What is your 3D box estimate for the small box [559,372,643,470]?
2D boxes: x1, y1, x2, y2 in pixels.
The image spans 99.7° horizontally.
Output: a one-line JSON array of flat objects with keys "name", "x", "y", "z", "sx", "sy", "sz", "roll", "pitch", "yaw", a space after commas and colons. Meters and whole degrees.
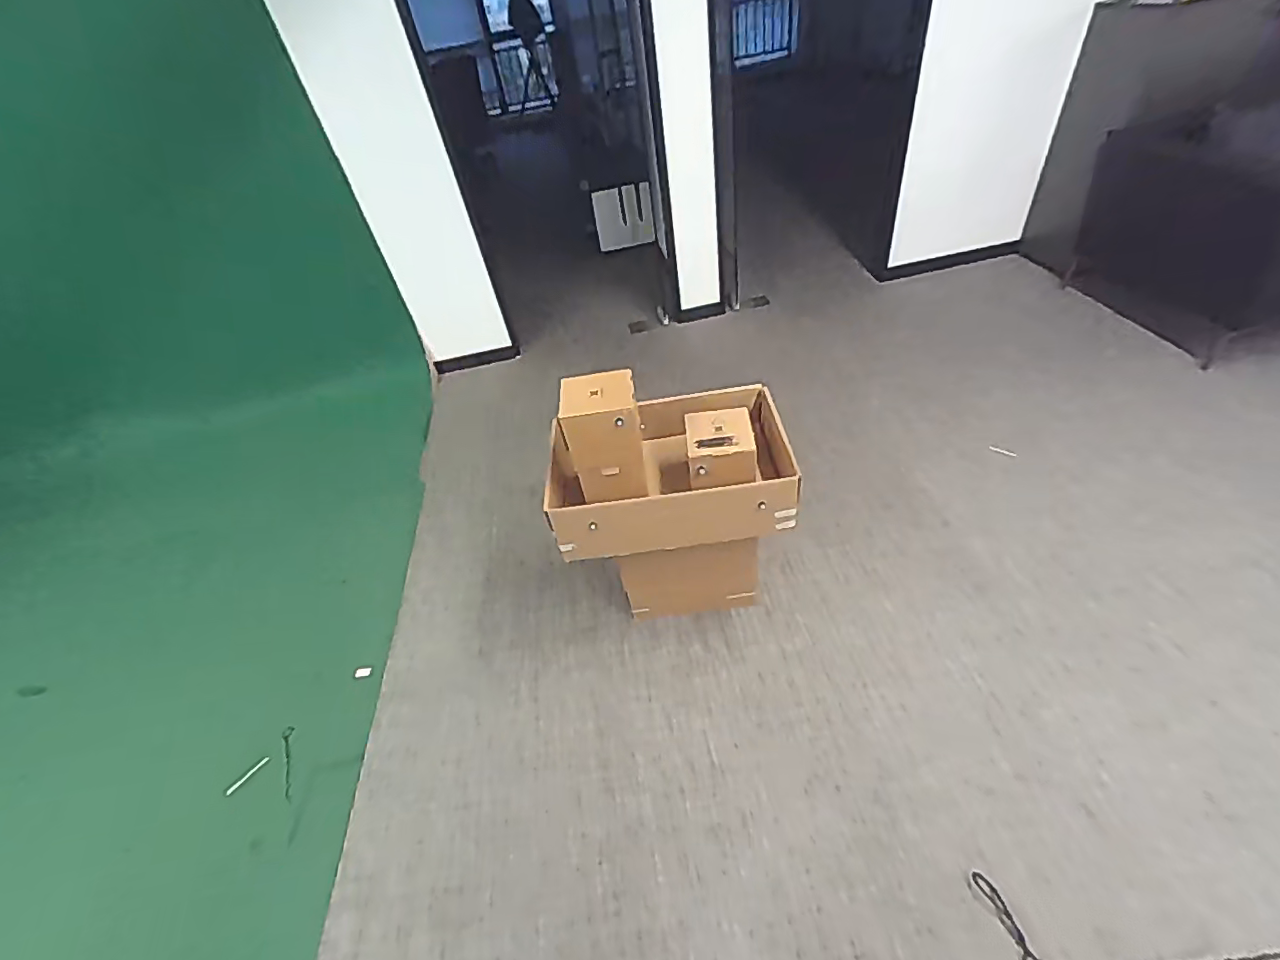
[{"name": "small box", "x": -0.093, "y": -0.141, "z": 1.324, "sx": 0.179, "sy": 0.176, "sz": 0.168, "roll": -7, "pitch": 43, "yaw": 1}]
